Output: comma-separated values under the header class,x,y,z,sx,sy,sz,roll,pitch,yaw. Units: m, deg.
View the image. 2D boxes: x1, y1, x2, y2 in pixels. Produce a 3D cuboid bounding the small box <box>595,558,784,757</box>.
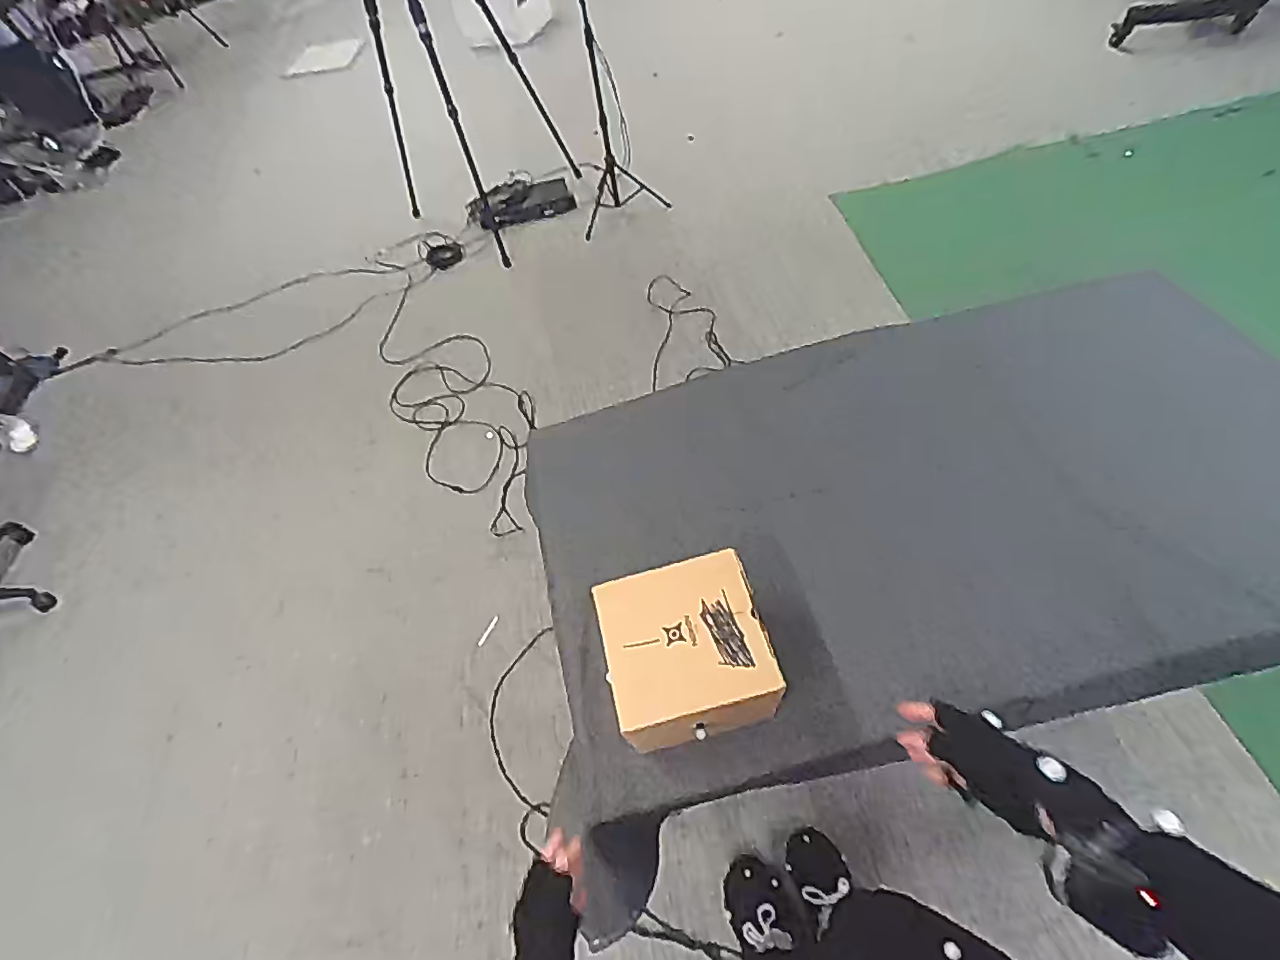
class,x,y,z,sx,sy,sz,roll,pitch,yaw
small box,0.056,0.220,0.656,0.179,0.176,0.168,-15,55,-1
